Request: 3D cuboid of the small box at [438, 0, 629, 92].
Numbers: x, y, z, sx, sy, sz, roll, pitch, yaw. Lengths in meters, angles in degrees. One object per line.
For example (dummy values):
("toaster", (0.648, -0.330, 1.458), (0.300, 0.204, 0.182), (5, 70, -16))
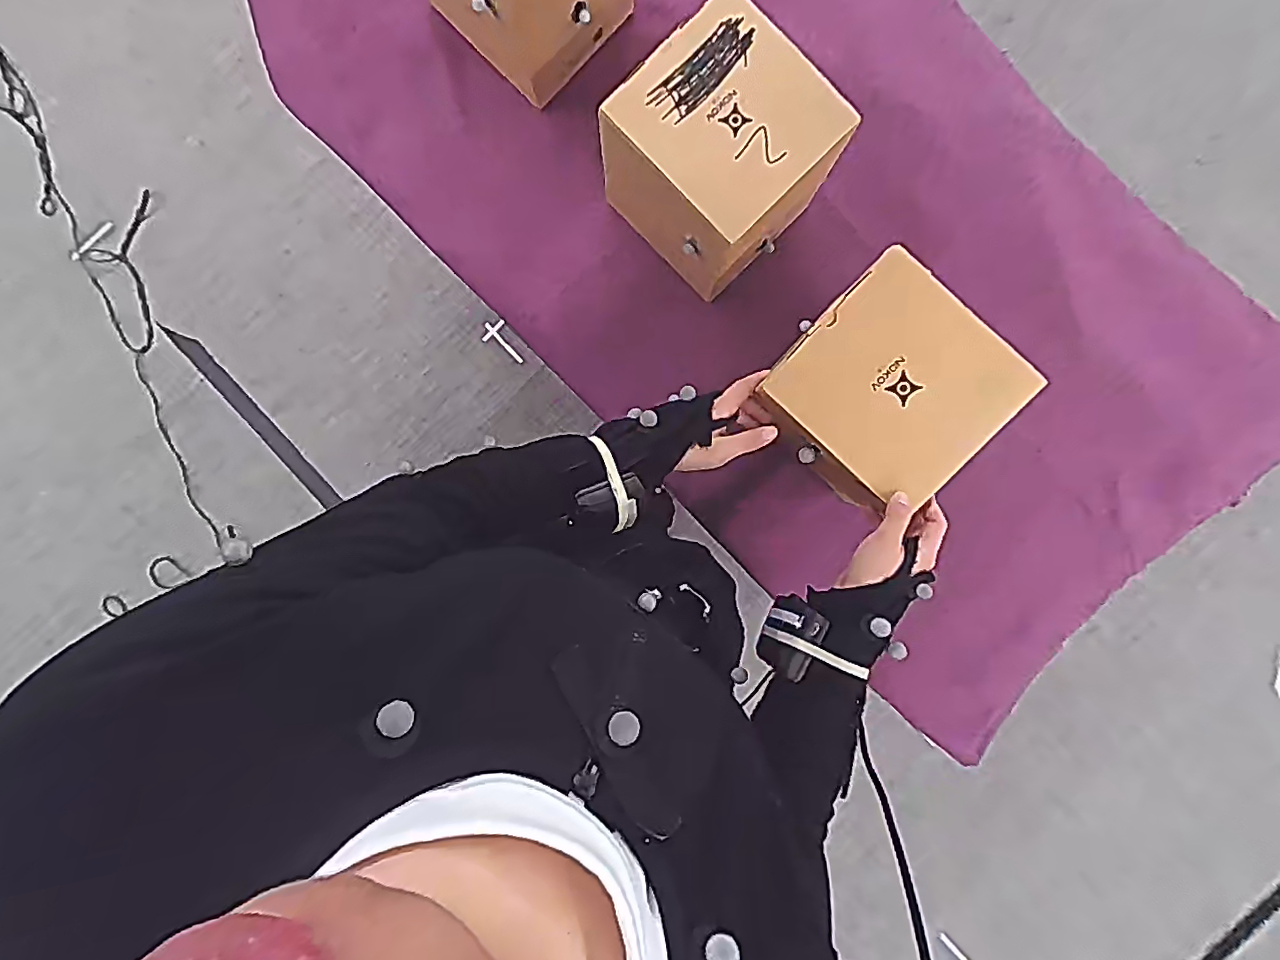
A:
("small box", (-0.121, -0.557, 0.564), (0.179, 0.176, 0.168), (44, 90, -3))
